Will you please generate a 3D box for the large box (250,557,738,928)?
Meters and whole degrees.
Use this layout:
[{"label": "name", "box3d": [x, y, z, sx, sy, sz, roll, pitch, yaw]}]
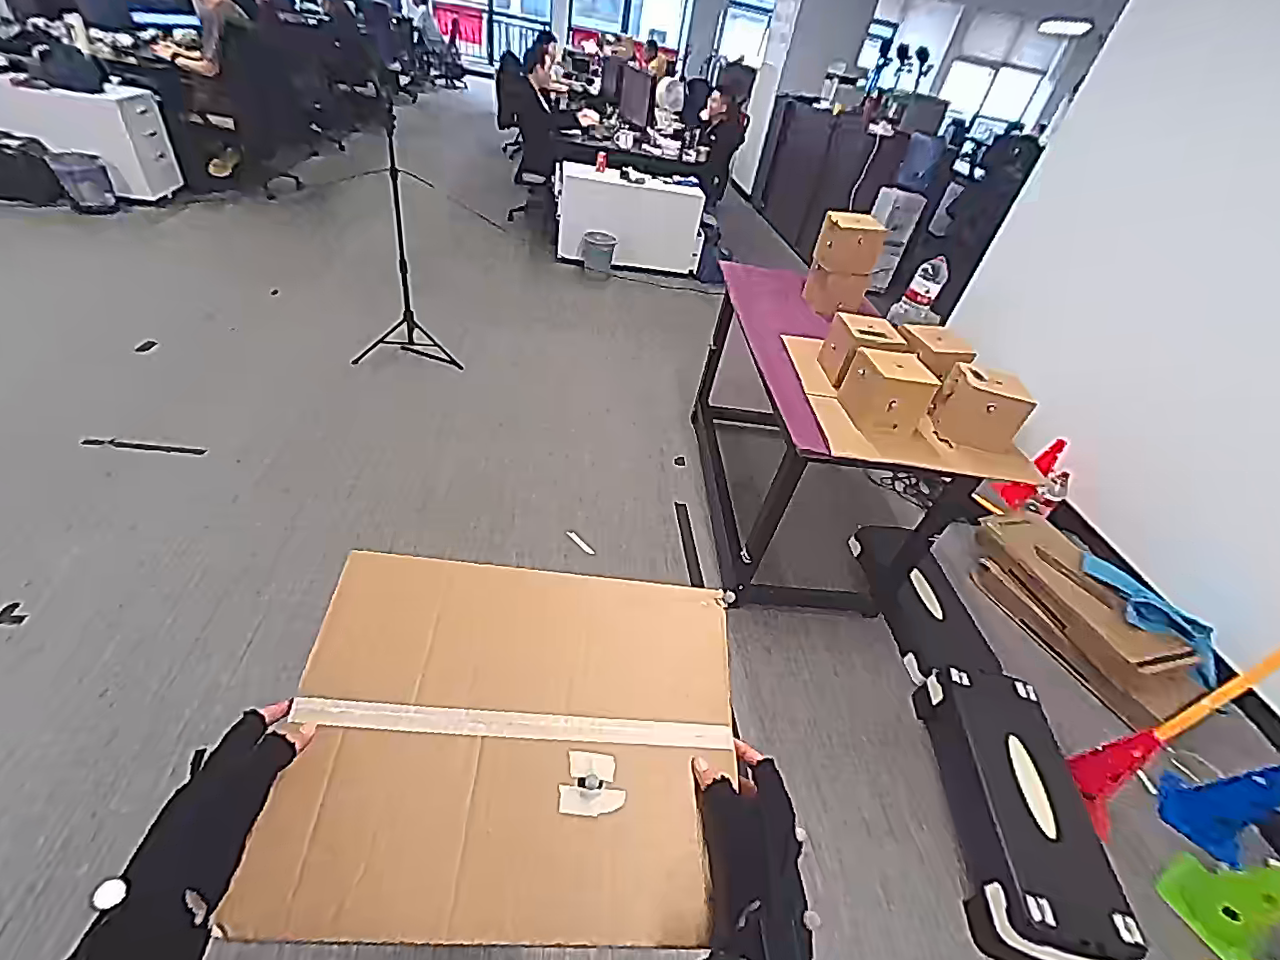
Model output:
[{"label": "large box", "box3d": [-0.133, 0.315, 0.646, 0.408, 0.320, 0.320, 8, 56, -8]}]
